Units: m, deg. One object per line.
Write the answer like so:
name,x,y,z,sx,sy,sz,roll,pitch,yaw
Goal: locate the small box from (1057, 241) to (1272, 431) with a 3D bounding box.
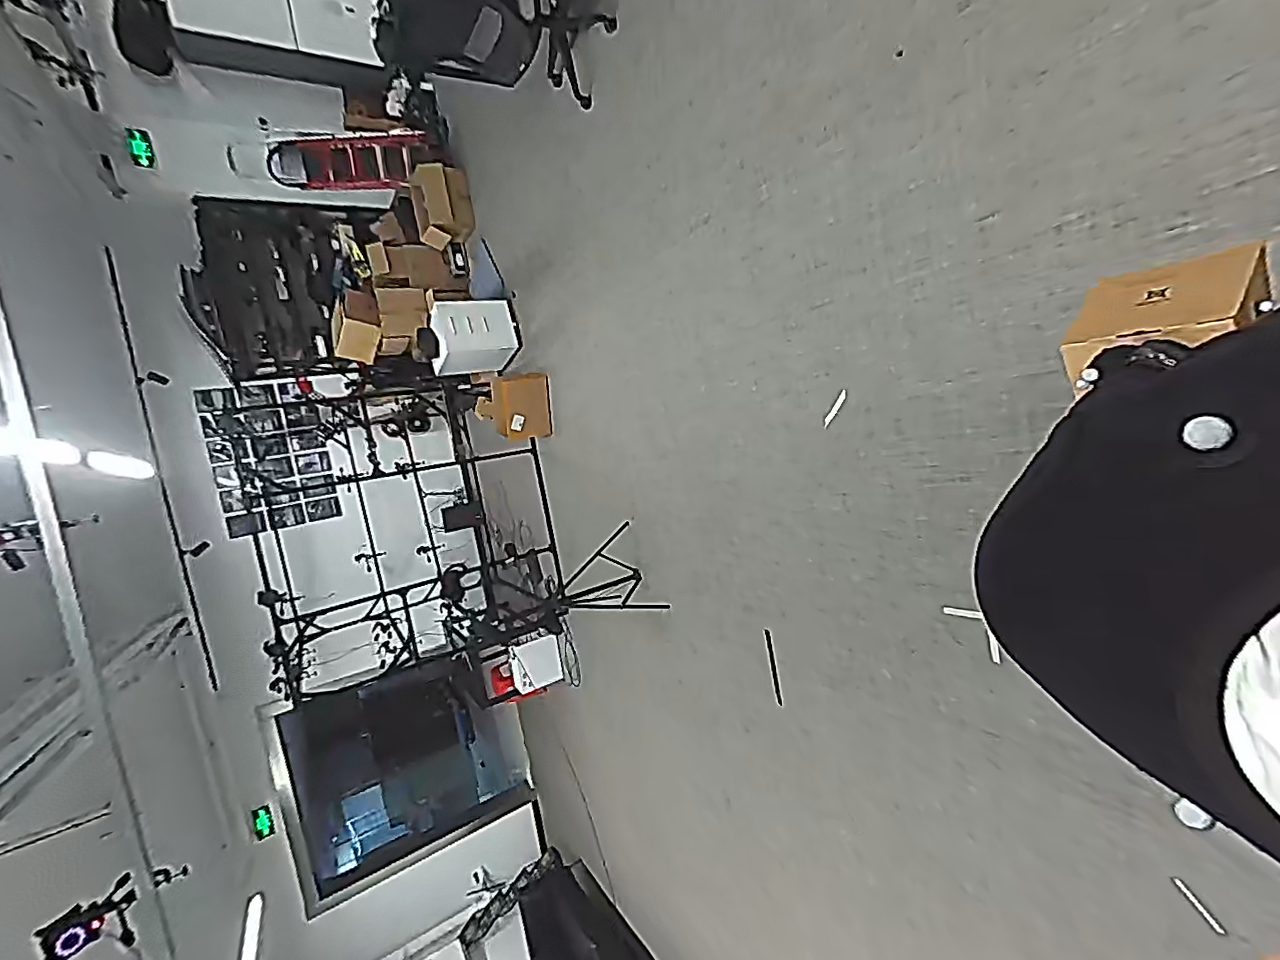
small box,0.708,-0.177,0.728,0.176,0.179,0.168,53,156,-23
